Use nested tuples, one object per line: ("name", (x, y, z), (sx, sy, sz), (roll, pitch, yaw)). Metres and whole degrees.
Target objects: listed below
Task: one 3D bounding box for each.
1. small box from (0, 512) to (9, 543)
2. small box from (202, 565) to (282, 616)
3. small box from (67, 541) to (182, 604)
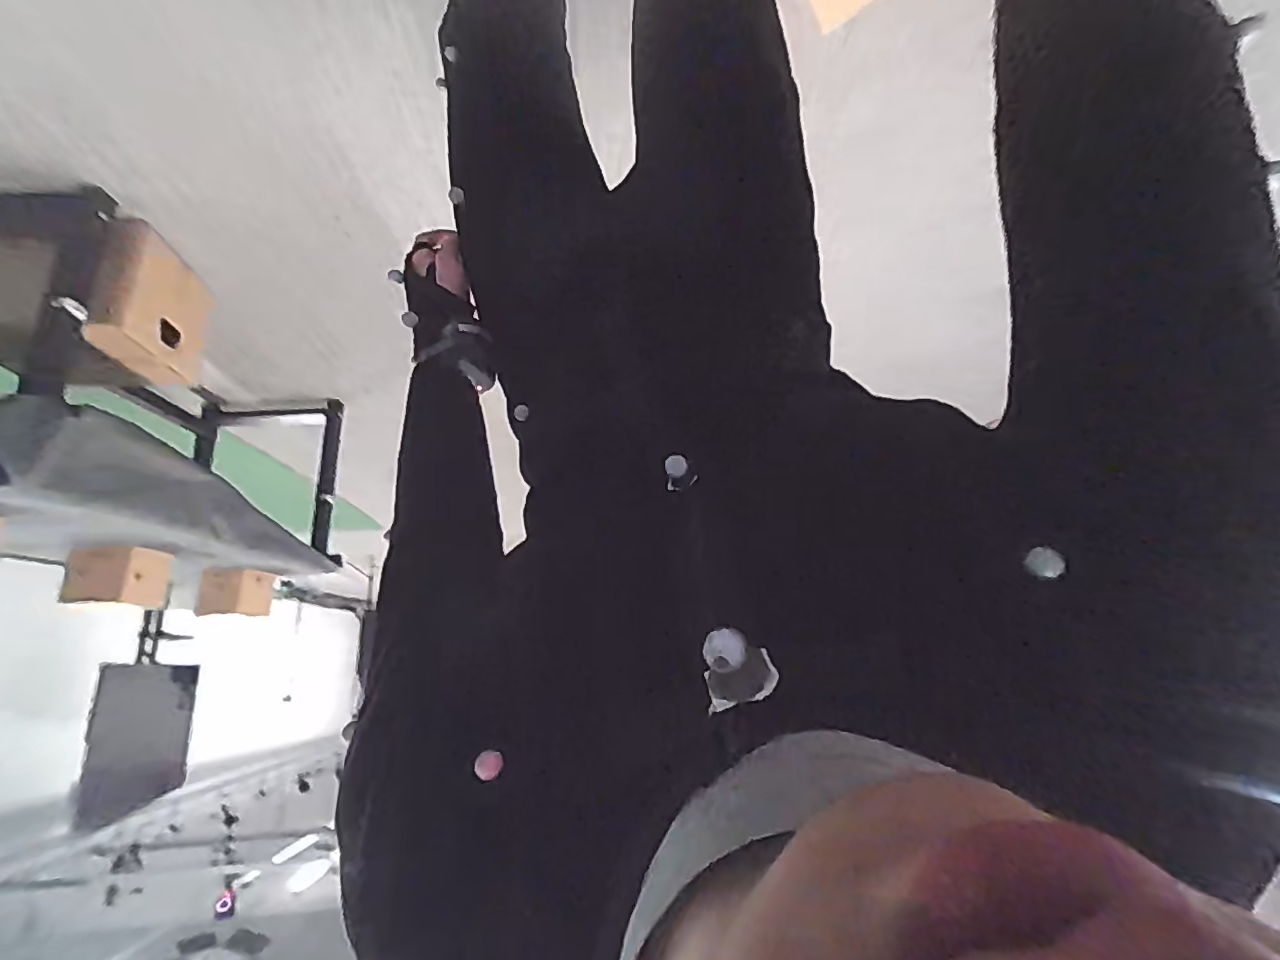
("small box", (-1.499, 0.127, 1.122), (0.168, 0.176, 0.179), (-1, 162, -7))
("small box", (-1.496, 0.414, 2.041), (0.168, 0.176, 0.179), (-3, 161, 2))
("small box", (-1.515, 0.274, 1.602), (0.168, 0.176, 0.179), (0, 163, -5))
